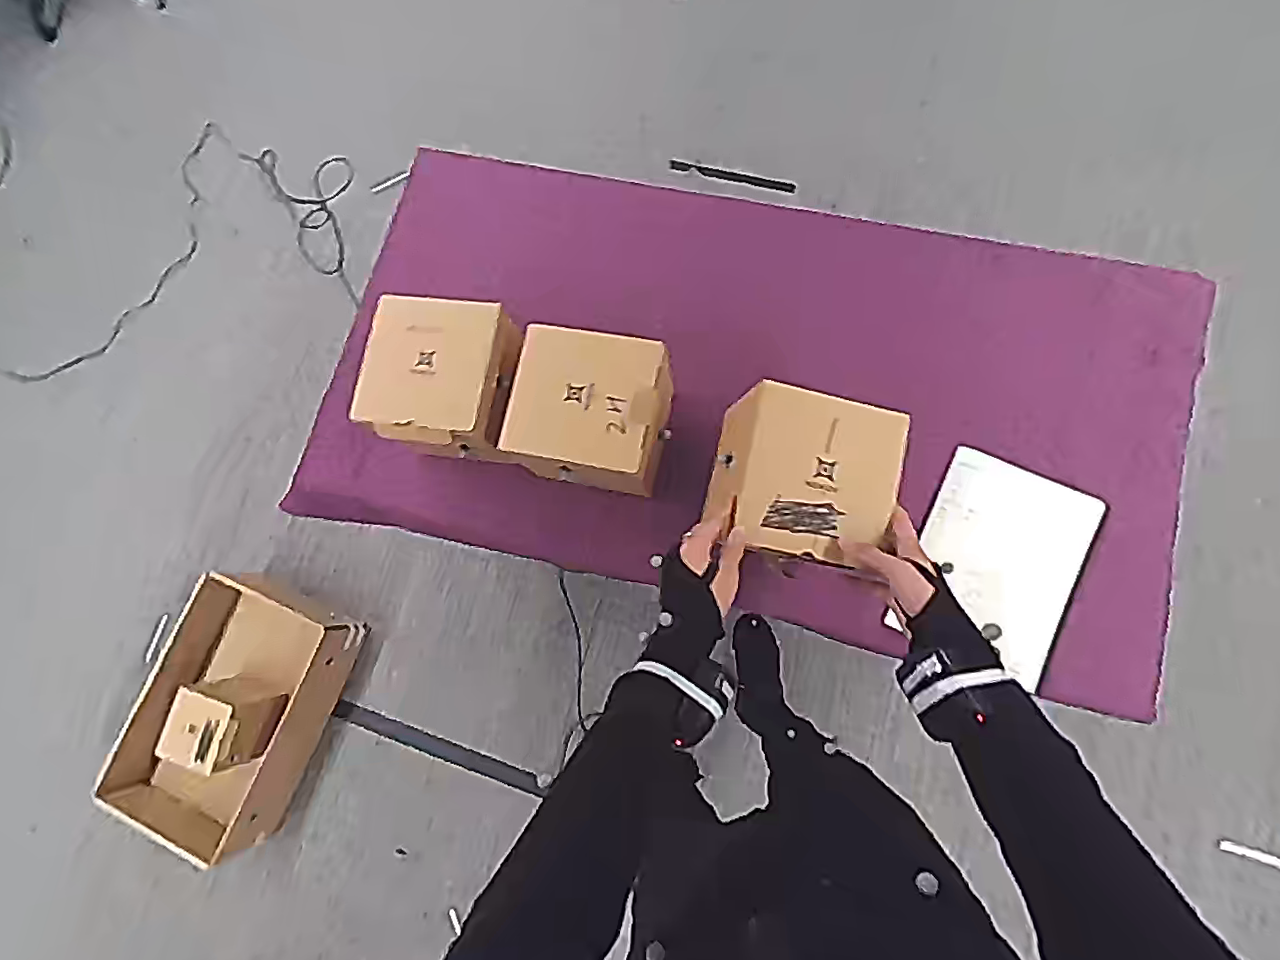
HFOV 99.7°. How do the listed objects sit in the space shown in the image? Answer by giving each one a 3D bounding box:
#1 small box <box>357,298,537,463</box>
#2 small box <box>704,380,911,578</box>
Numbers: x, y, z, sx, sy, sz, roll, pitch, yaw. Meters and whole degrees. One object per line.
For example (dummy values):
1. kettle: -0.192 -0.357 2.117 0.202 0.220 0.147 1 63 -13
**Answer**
1. small box: -0.255 -0.130 0.760 0.168 0.176 0.179 7 80 8
2. small box: 0.181 0.005 0.633 0.168 0.176 0.179 13 83 -4
